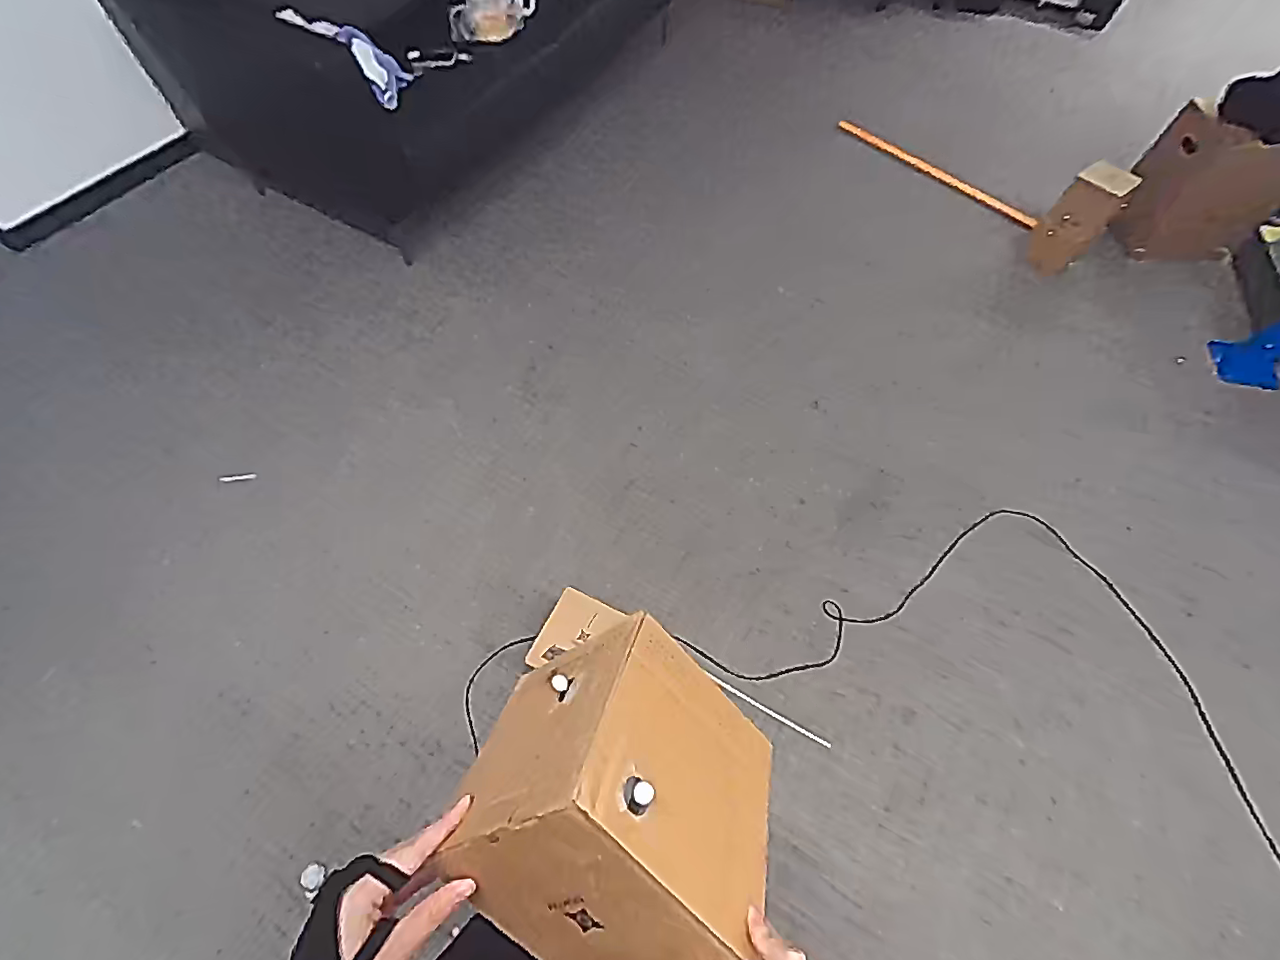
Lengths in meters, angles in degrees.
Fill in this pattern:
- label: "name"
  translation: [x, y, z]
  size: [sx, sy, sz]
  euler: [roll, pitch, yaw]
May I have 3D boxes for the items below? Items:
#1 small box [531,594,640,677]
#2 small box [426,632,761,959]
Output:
- label: "small box"
  translation: [-0.107, 0.378, 1.161]
  size: [0.168, 0.176, 0.179]
  euler: [23, 62, 13]
- label: "small box"
  translation: [-0.020, 0.259, 0.431]
  size: [0.179, 0.168, 0.176]
  euler: [48, 28, -8]
